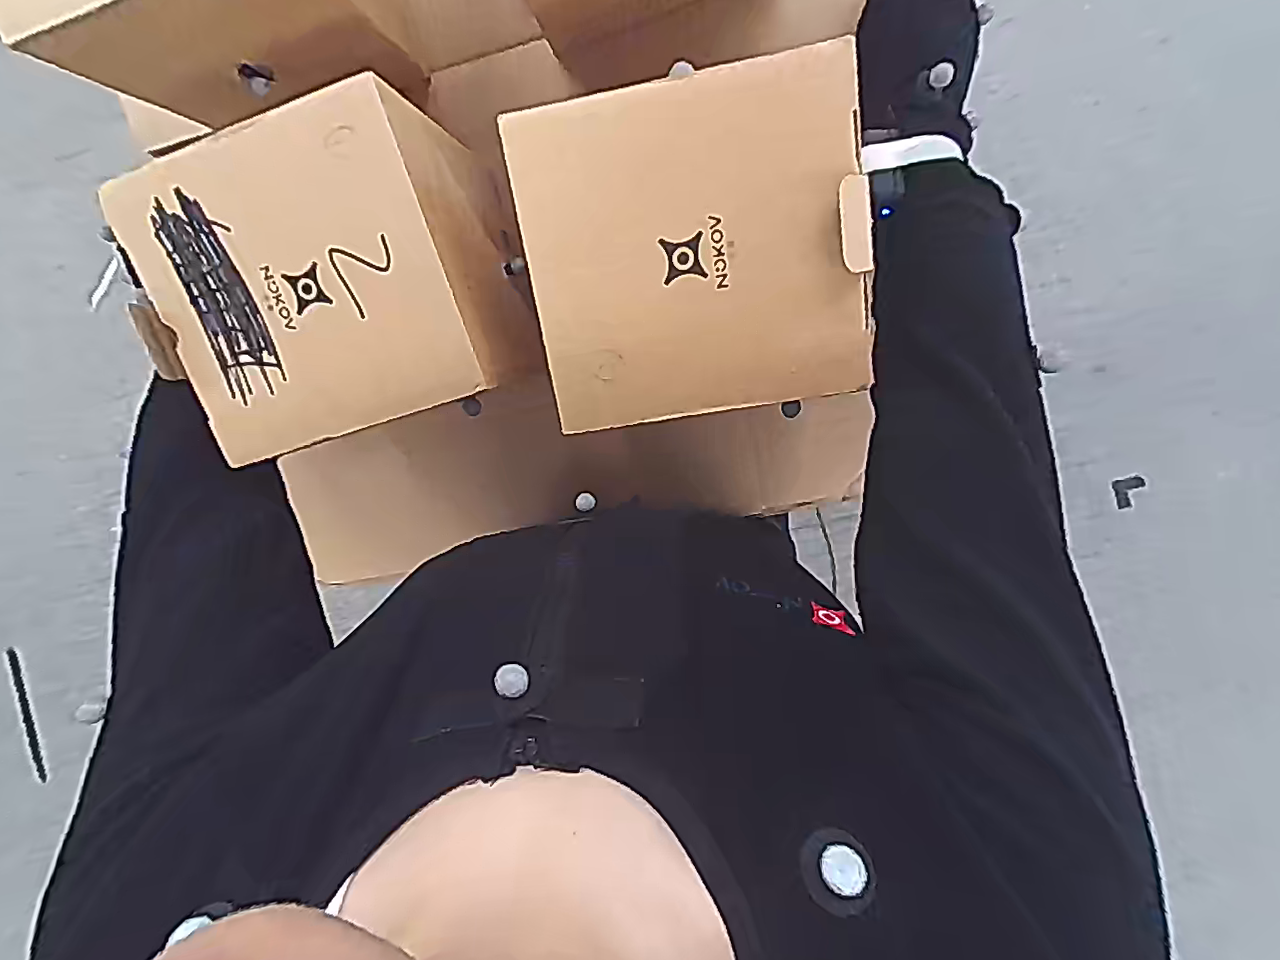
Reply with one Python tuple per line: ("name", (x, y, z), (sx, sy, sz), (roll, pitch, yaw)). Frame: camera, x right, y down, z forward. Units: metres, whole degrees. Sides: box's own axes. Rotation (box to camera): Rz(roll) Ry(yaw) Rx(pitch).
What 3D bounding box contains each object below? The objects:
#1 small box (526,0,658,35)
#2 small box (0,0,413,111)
("small box", (-0.014, -0.394, 0.289), (0.179, 0.176, 0.168), (-13, 106, 10))
("small box", (-0.269, -0.356, 0.326), (0.168, 0.176, 0.179), (-12, 105, 8))
